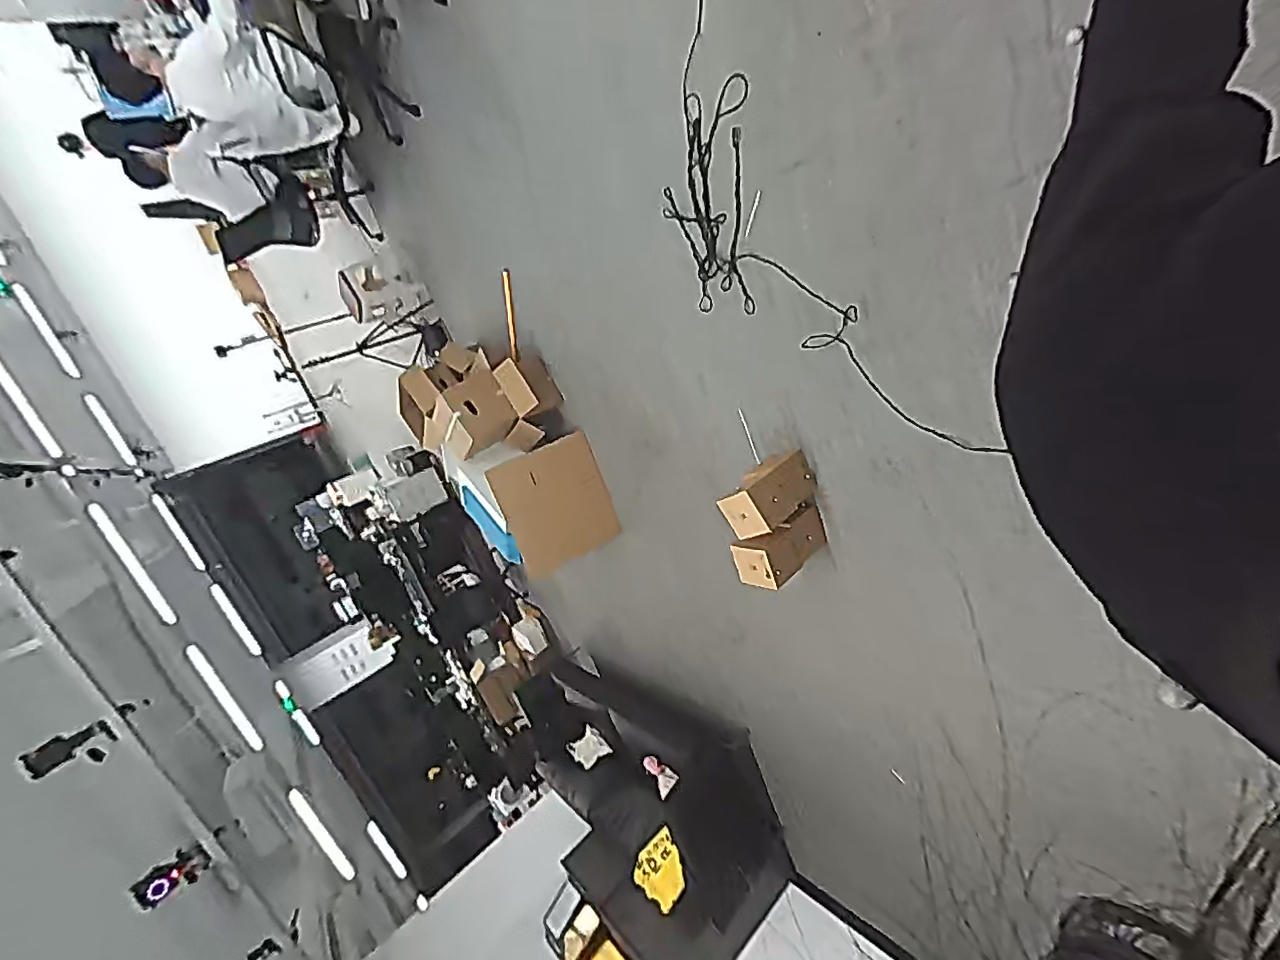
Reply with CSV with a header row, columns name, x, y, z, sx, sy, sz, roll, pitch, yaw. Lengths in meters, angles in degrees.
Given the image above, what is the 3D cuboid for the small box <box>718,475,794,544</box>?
name,x,y,z,sx,sy,sz,roll,pitch,yaw
small box,0.418,0.103,1.919,0.168,0.176,0.179,59,149,0

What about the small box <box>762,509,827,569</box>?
name,x,y,z,sx,sy,sz,roll,pitch,yaw
small box,0.590,0.219,2.086,0.168,0.176,0.179,0,117,55
